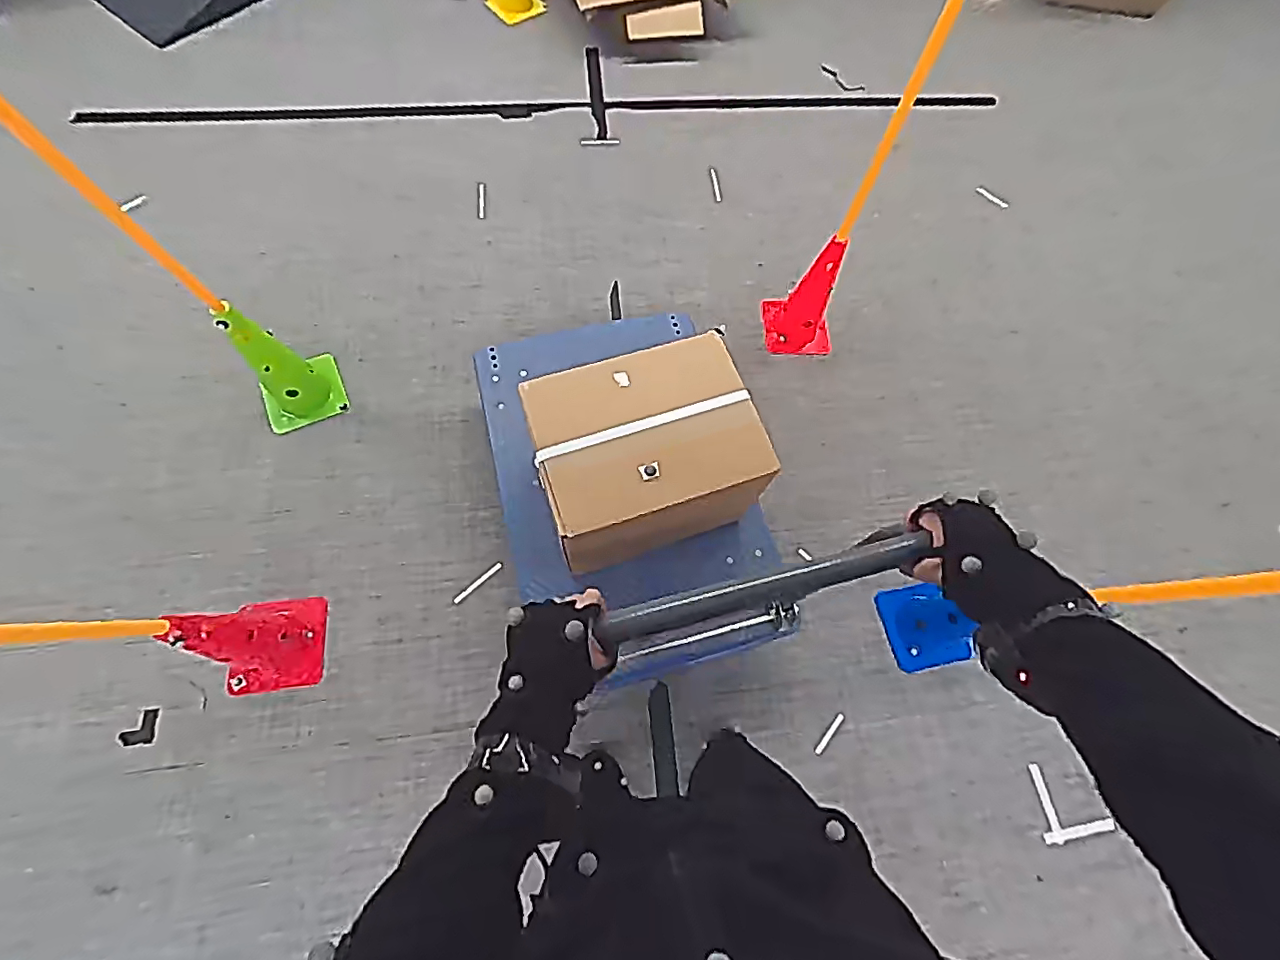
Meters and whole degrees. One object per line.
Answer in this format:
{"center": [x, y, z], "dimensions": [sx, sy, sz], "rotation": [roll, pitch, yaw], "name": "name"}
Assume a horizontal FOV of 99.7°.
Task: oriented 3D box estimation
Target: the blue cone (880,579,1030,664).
{"center": [0.723, 0.290, 1.203], "dimensions": [0.193, 0.380, 0.192], "rotation": [-8, 68, -8], "name": "blue cone"}

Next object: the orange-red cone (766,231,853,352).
{"center": [0.500, -0.541, 1.502], "dimensions": [0.199, 0.360, 0.198], "rotation": [2, 69, -4], "name": "orange-red cone"}
